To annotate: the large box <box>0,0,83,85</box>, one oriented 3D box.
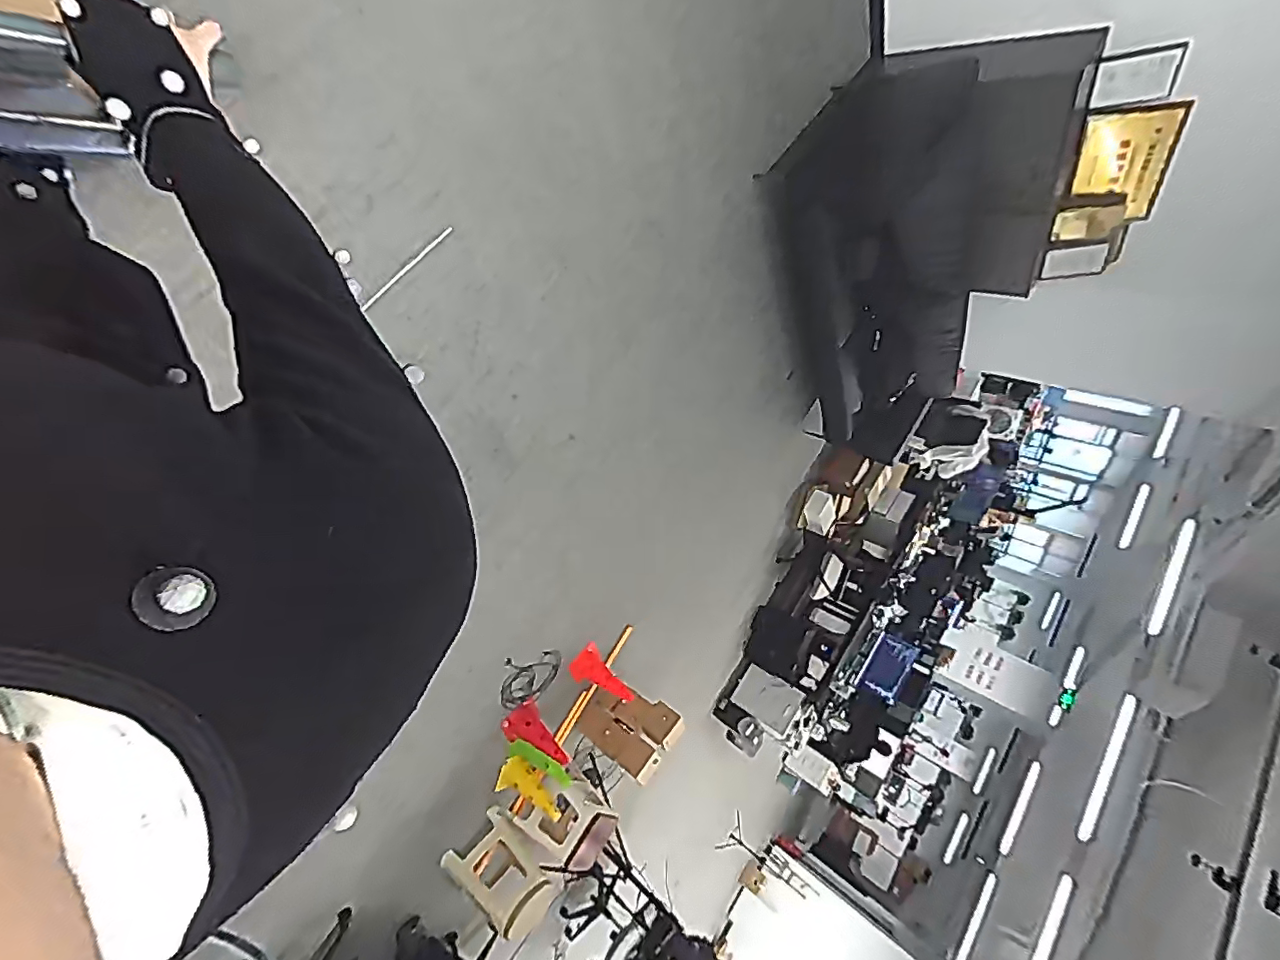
[{"bbox_3d":[-0.954,-0.742,0.630,0.320,0.320,0.408,-24,126,-43],"label":"large box"}]
